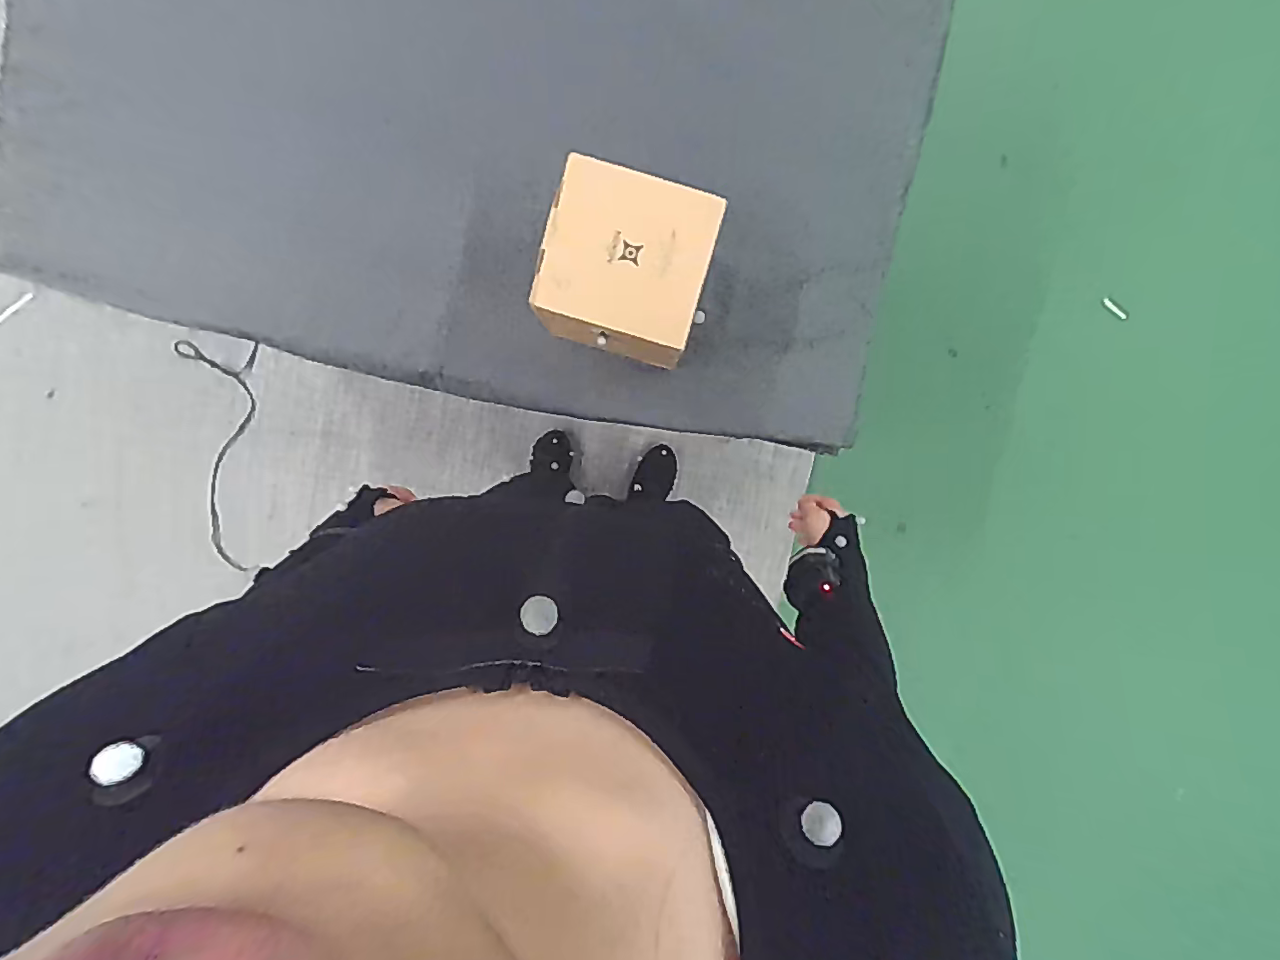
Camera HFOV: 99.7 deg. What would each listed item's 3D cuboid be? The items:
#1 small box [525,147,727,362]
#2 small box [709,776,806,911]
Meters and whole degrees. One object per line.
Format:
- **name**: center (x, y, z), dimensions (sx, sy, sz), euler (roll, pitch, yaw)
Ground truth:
- **small box**: center (-0.015, -0.247, 0.639), dimensions (0.179, 0.176, 0.168), euler (16, 95, -2)
- **small box**: center (0.262, 0.831, 1.250), dimensions (0.168, 0.176, 0.179), euler (15, 95, -1)
